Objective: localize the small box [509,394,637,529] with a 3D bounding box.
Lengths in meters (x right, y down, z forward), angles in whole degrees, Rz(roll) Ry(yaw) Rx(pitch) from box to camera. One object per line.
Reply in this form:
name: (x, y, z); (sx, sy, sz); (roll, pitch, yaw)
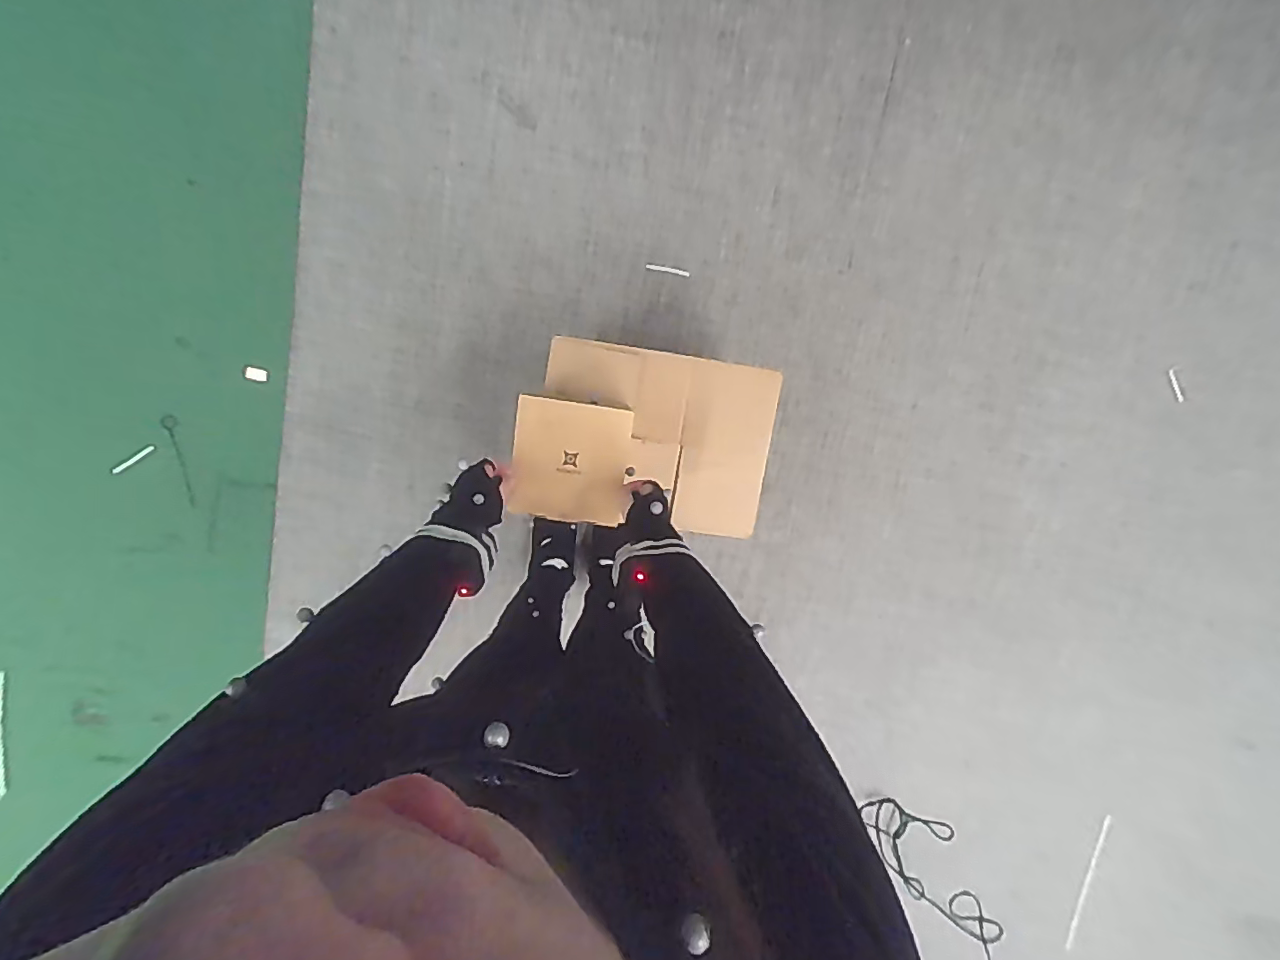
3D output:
small box: (-0.103, -0.038, 0.857); (0.168, 0.176, 0.179); (8, 101, -5)
